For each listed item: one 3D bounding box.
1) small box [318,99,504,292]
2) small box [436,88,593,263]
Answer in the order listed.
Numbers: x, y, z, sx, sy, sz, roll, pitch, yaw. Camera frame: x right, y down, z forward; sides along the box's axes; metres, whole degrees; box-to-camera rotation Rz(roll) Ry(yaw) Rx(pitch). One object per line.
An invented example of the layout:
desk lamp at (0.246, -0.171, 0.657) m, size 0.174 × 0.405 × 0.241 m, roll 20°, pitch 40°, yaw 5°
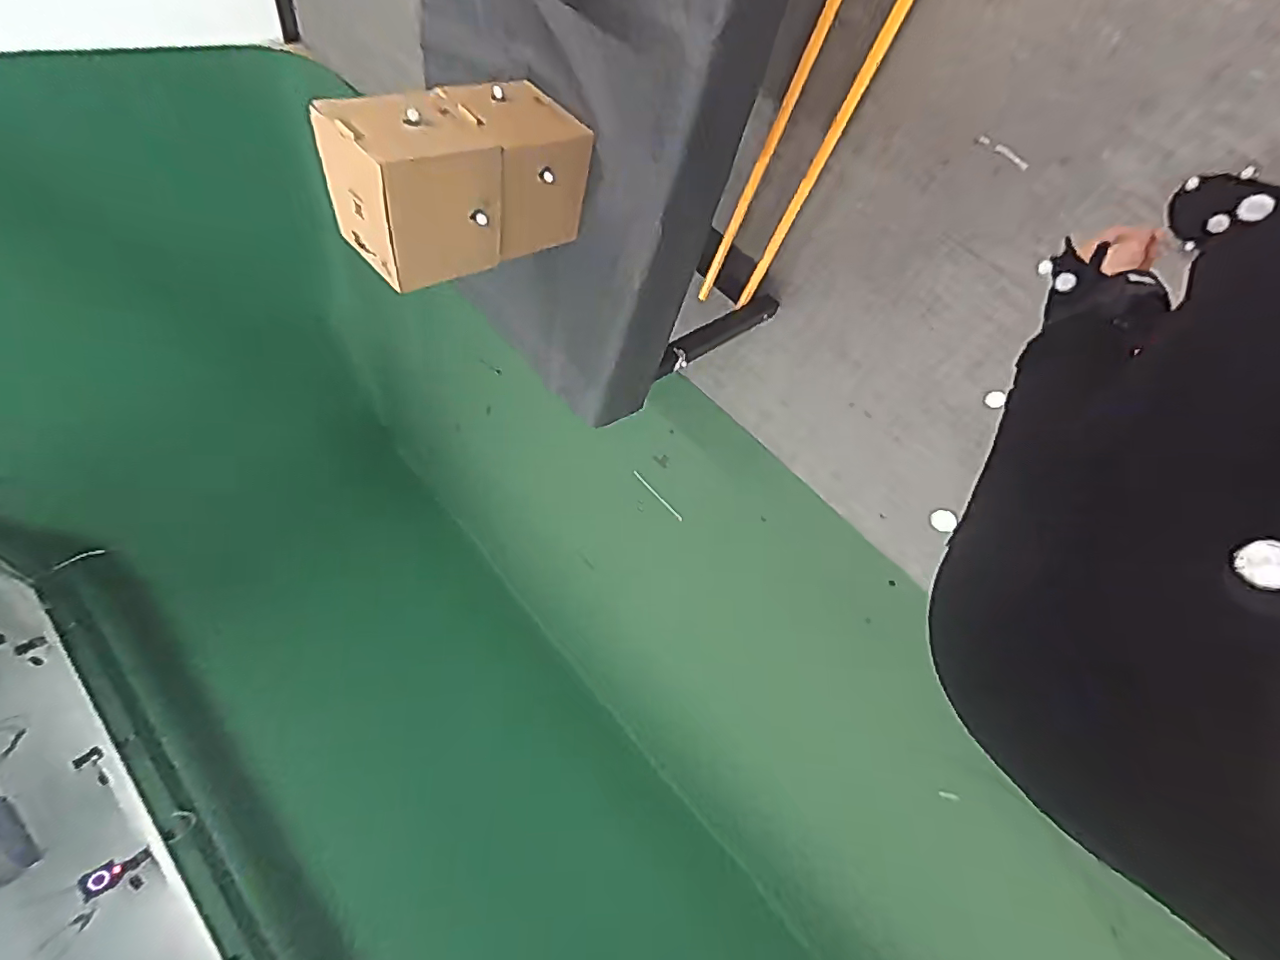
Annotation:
small box at (-0.304, -0.398, 0.747) m, size 0.168 × 0.176 × 0.179 m, roll 45°, pitch 144°, yaw 19°
small box at (-0.193, -0.477, 0.840) m, size 0.168 × 0.176 × 0.179 m, roll 46°, pitch 146°, yaw 17°
